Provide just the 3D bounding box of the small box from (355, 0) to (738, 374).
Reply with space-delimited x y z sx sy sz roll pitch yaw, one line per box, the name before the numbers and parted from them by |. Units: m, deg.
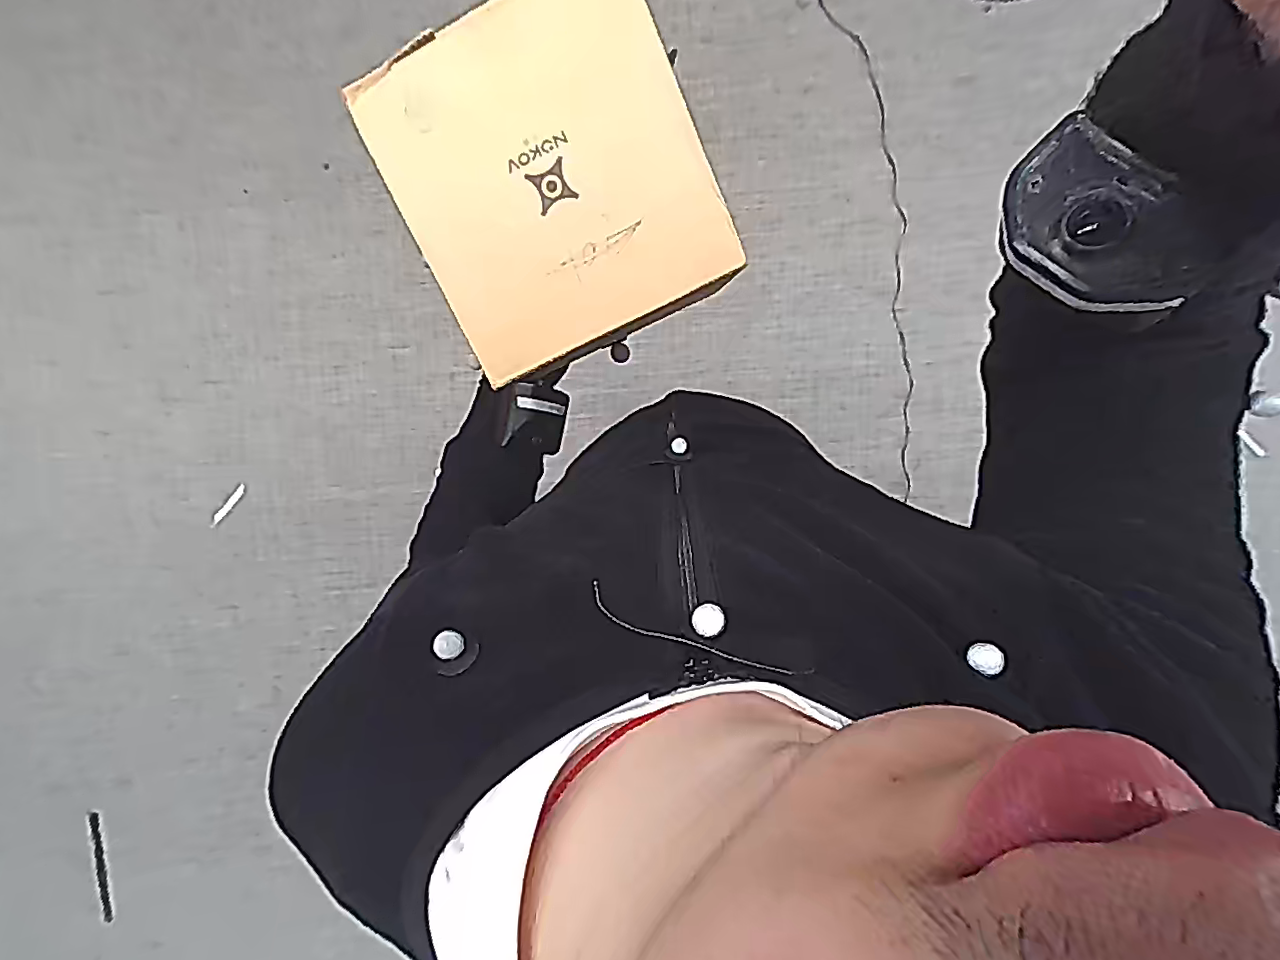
small box | -0.049 -0.188 0.383 0.168 0.176 0.179 -23 102 8
